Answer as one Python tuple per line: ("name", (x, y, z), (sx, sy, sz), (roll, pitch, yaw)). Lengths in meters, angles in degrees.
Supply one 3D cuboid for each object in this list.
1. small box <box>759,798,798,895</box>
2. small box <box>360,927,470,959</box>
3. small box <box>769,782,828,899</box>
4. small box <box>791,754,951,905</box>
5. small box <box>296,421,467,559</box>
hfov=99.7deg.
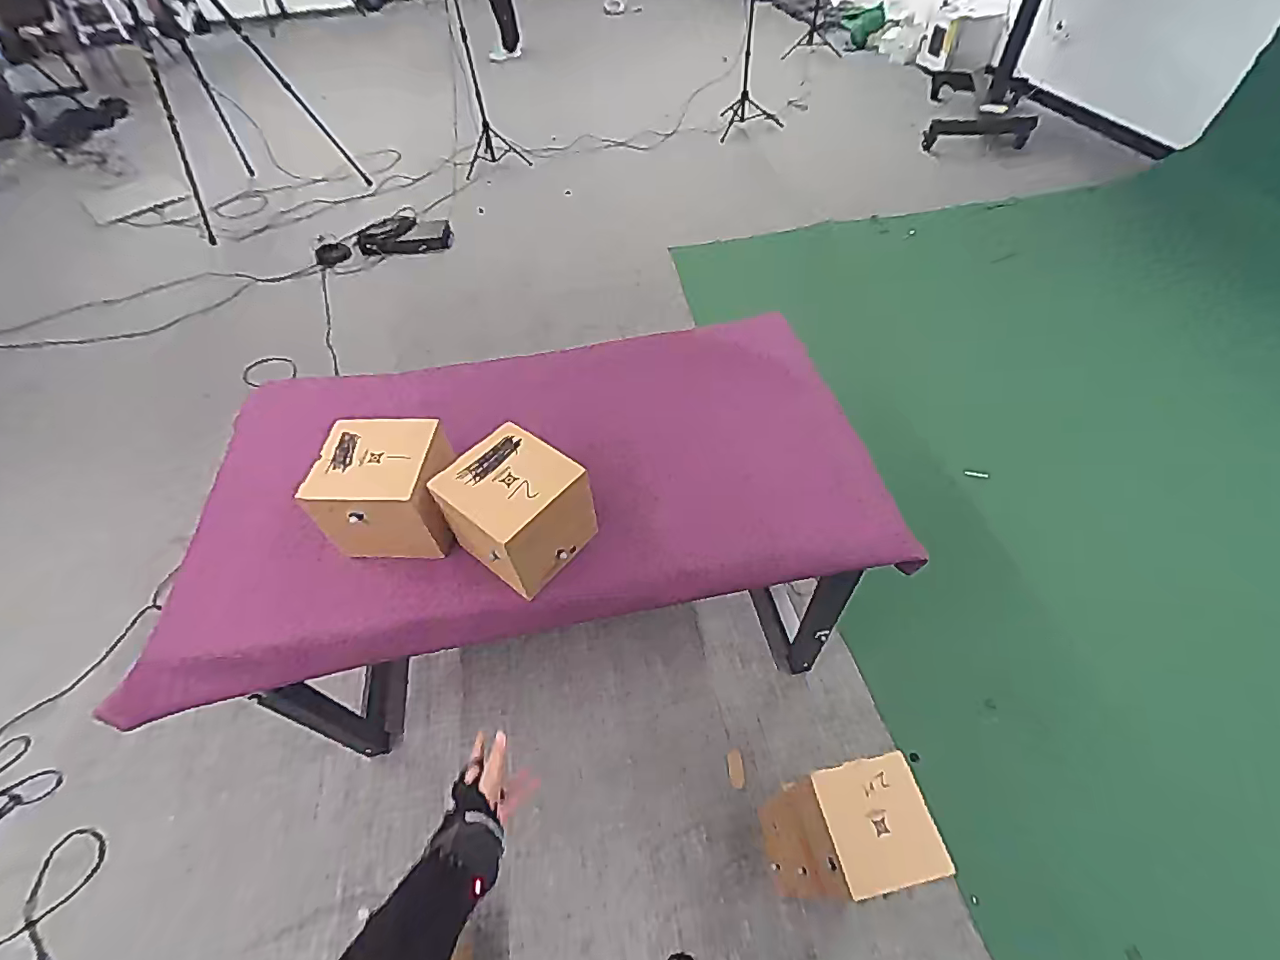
("small box", (0.364, 0.783, 1.170), (0.179, 0.176, 0.168), (-9, 52, -4))
("small box", (-0.436, 0.992, 1.047), (0.168, 0.176, 0.179), (-7, 52, -3))
("small box", (0.363, 0.683, 1.043), (0.168, 0.176, 0.179), (-11, 53, -6))
("small box", (0.372, 0.586, 0.909), (0.168, 0.176, 0.179), (-11, 53, -6))
("small box", (-0.410, 0.019, 0.895), (0.179, 0.176, 0.168), (1, 52, 3))
